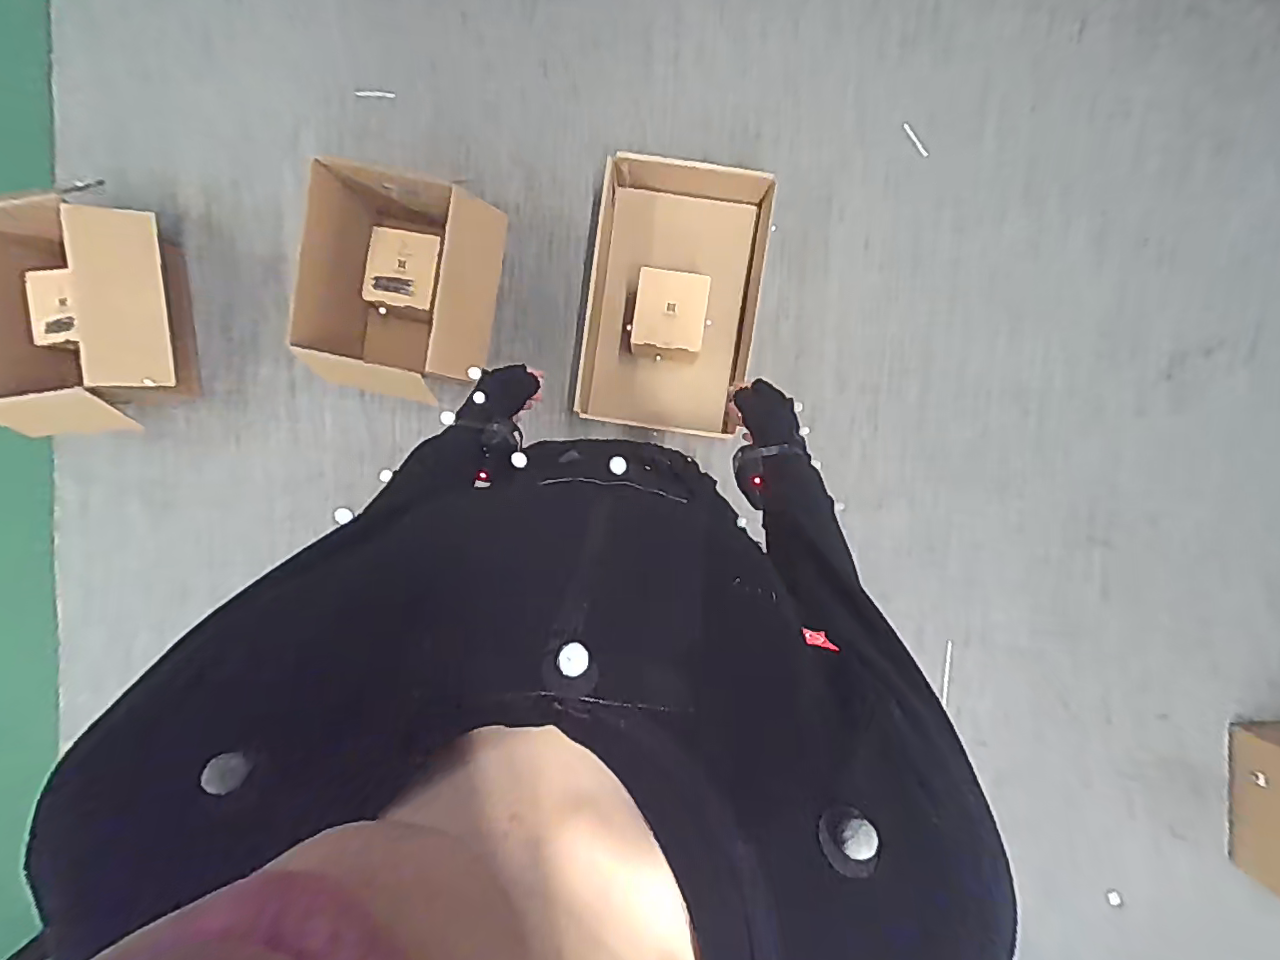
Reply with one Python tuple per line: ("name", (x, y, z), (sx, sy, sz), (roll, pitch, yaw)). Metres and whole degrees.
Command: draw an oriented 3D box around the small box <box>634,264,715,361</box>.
("small box", (0.079, -0.399, 1.311), (0.168, 0.176, 0.179), (8, 94, 1))
